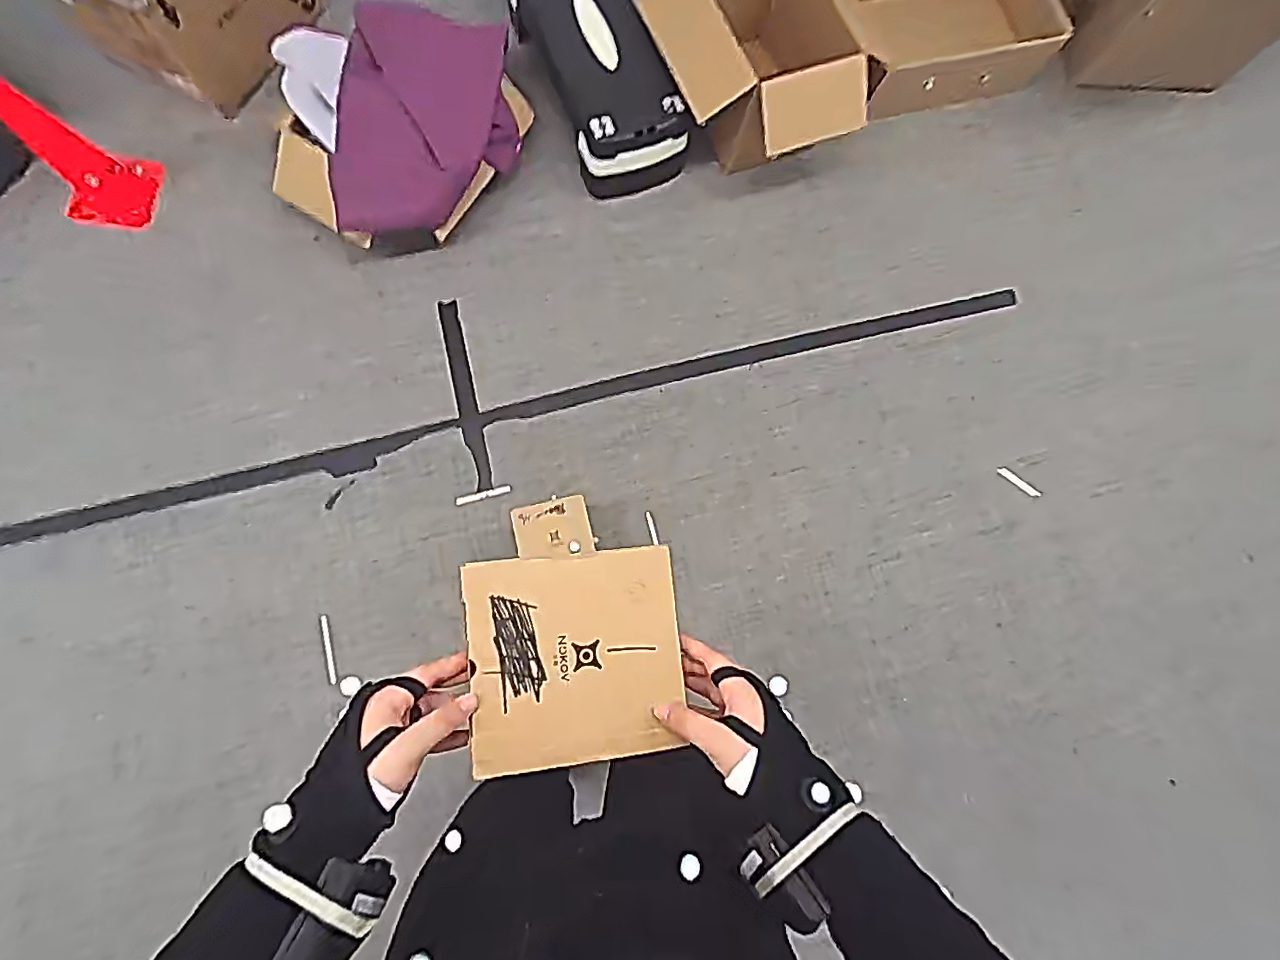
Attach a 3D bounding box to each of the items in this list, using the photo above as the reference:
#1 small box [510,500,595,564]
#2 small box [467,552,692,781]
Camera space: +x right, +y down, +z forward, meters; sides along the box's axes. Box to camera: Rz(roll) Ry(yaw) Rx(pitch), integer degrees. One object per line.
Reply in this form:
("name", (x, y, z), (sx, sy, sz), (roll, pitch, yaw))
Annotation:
("small box", (-0.194, 0.156, 1.255), (0.168, 0.176, 0.179), (-12, 81, -7))
("small box", (-0.060, 0.163, 0.519), (0.179, 0.176, 0.168), (-4, 80, -9))
